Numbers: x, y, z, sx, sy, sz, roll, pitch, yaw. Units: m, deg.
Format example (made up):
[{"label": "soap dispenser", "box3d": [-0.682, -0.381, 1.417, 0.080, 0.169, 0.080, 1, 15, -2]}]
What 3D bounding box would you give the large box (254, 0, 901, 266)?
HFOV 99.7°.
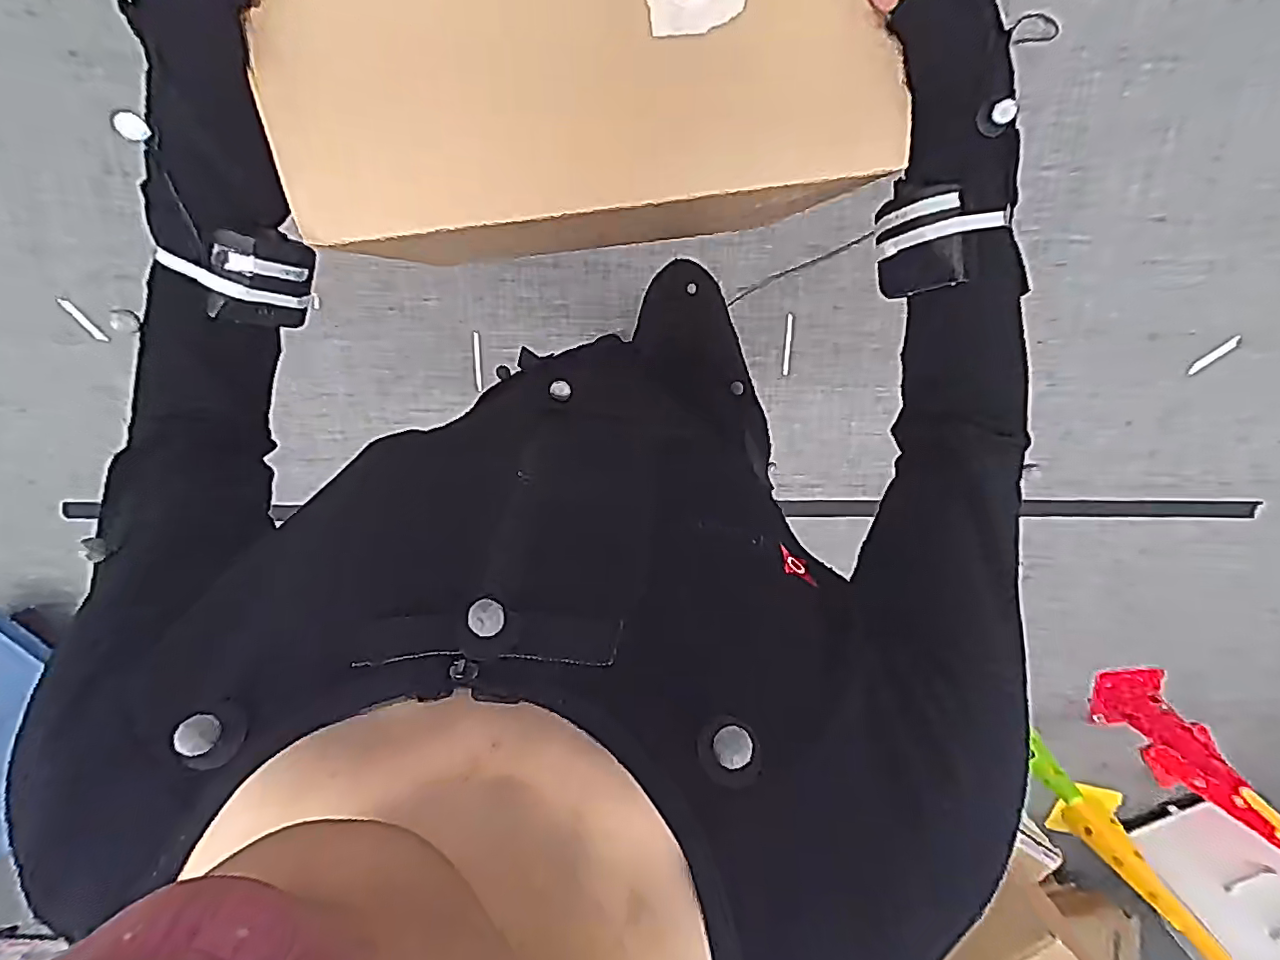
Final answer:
[{"label": "large box", "box3d": [-0.049, -0.384, 0.462, 0.408, 0.320, 0.320, -8, 109, -1]}]
